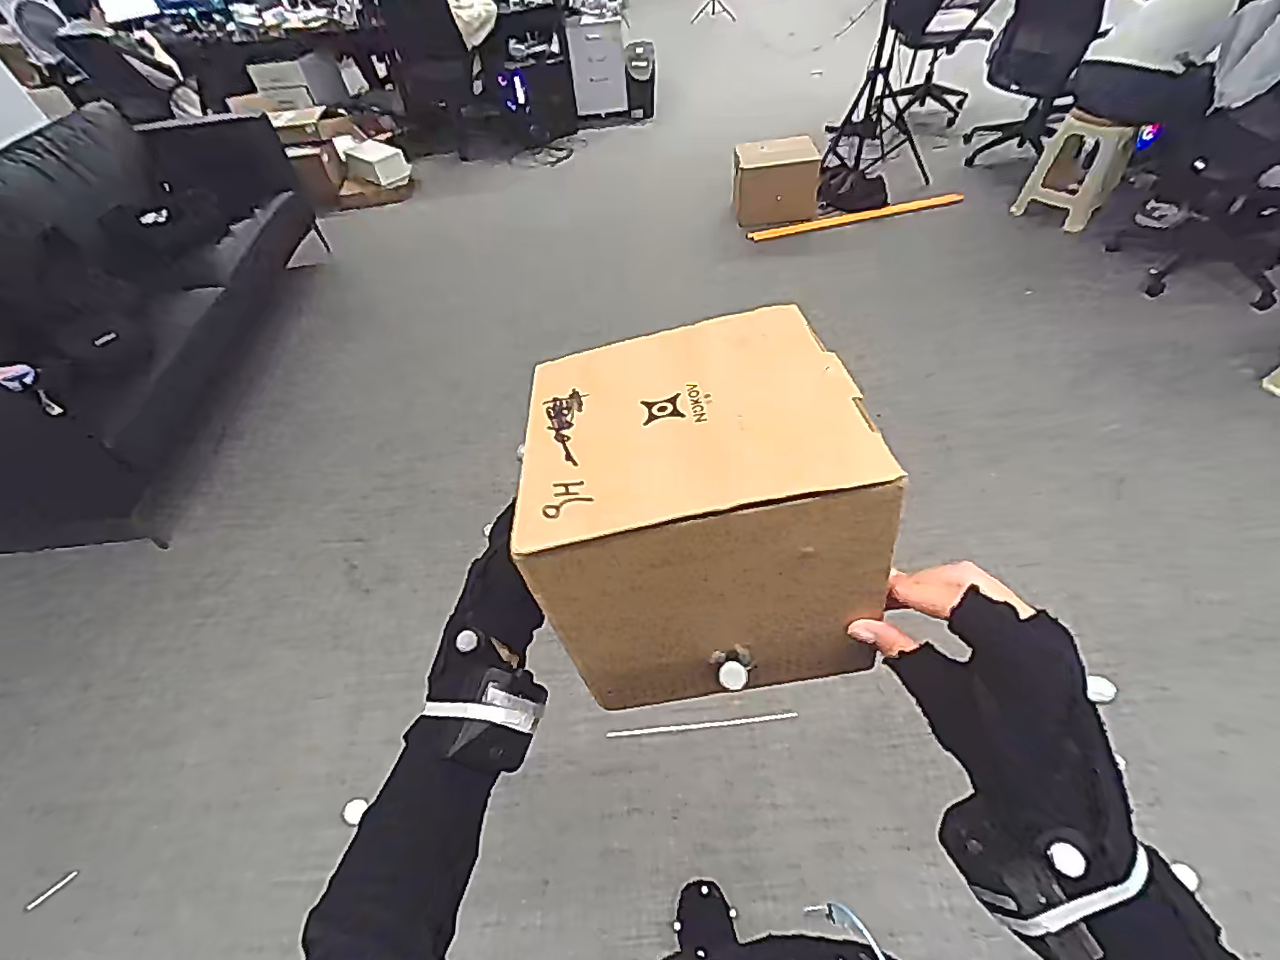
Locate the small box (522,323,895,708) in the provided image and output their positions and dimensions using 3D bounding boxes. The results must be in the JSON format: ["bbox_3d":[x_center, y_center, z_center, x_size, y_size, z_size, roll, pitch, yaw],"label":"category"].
[{"bbox_3d":[0.038,0.026,0.357,0.179,0.176,0.168,-12,42,4],"label":"small box"}]
